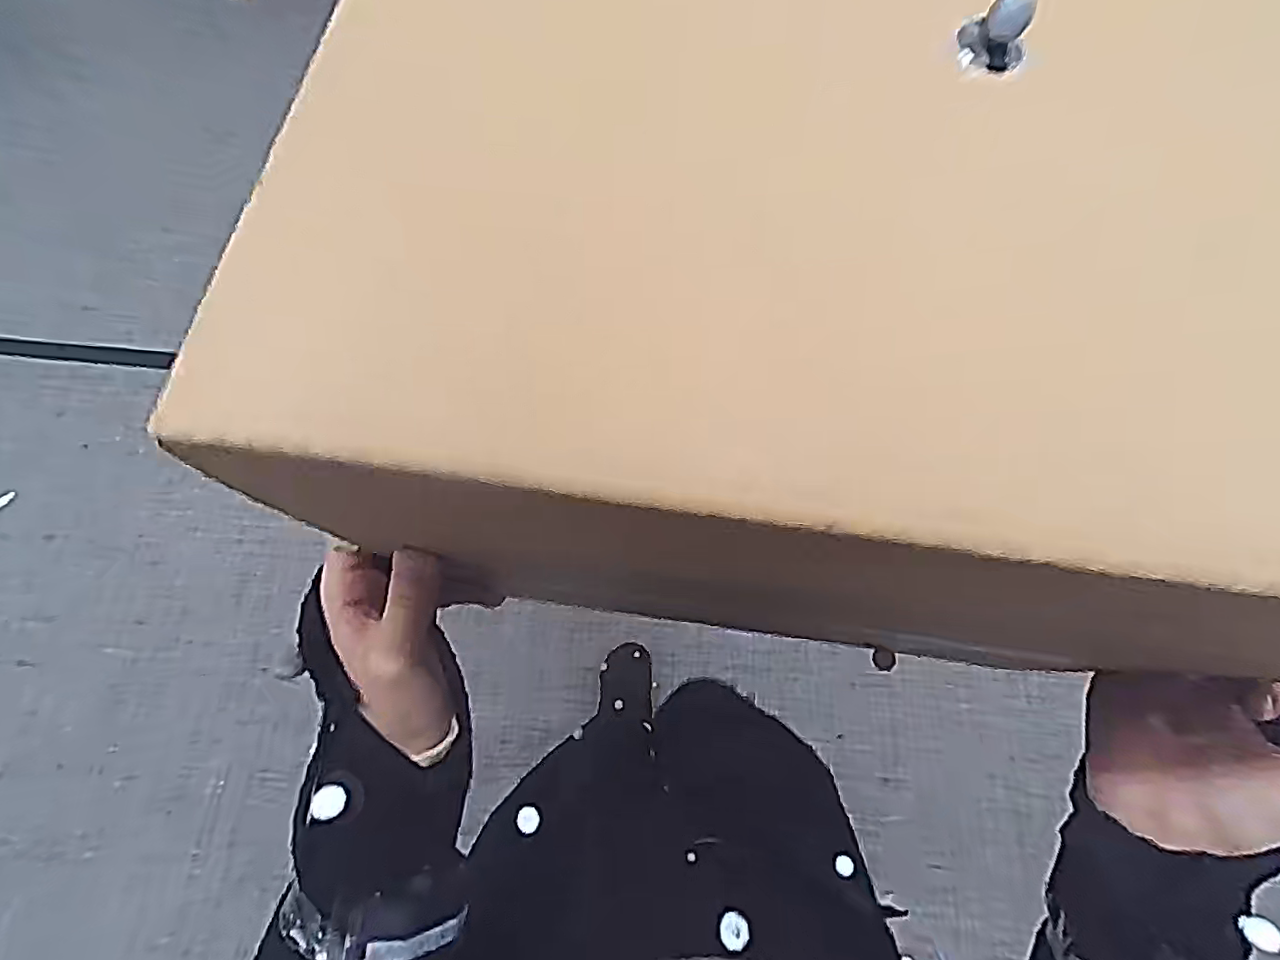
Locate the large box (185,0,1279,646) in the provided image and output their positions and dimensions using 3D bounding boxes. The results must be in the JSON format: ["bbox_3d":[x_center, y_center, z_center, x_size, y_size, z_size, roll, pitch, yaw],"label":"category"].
[{"bbox_3d":[0.095,-0.093,0.313,0.408,0.320,0.320,8,73,-1],"label":"large box"}]
